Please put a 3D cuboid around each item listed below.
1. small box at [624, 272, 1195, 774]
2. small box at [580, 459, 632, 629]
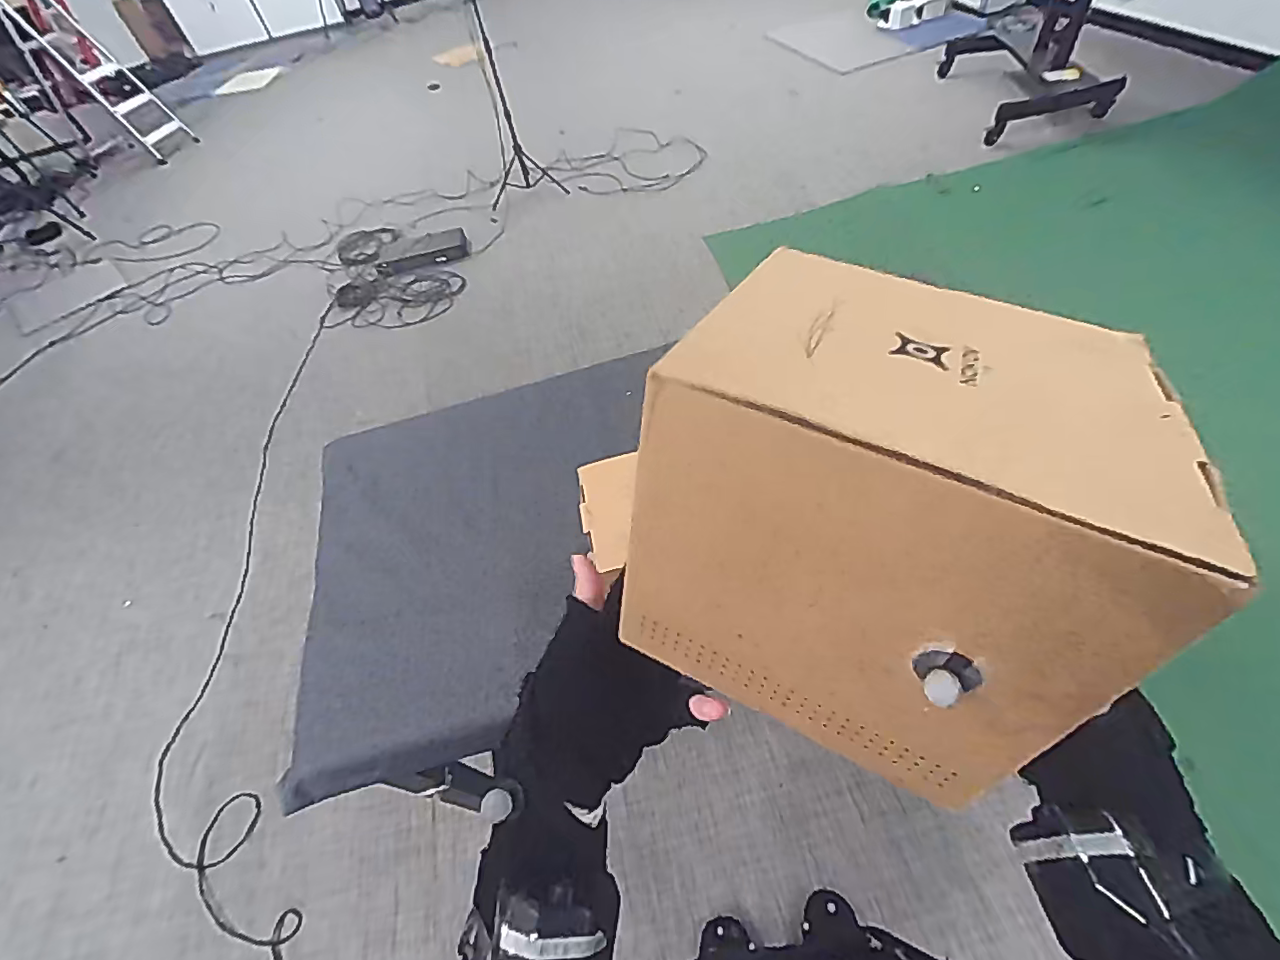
[{"bbox_3d":[0.105,0.017,0.280,0.179,0.176,0.168,20,42,17],"label":"small box"},{"bbox_3d":[0.031,0.081,0.723,0.179,0.176,0.168,-14,50,0],"label":"small box"}]
